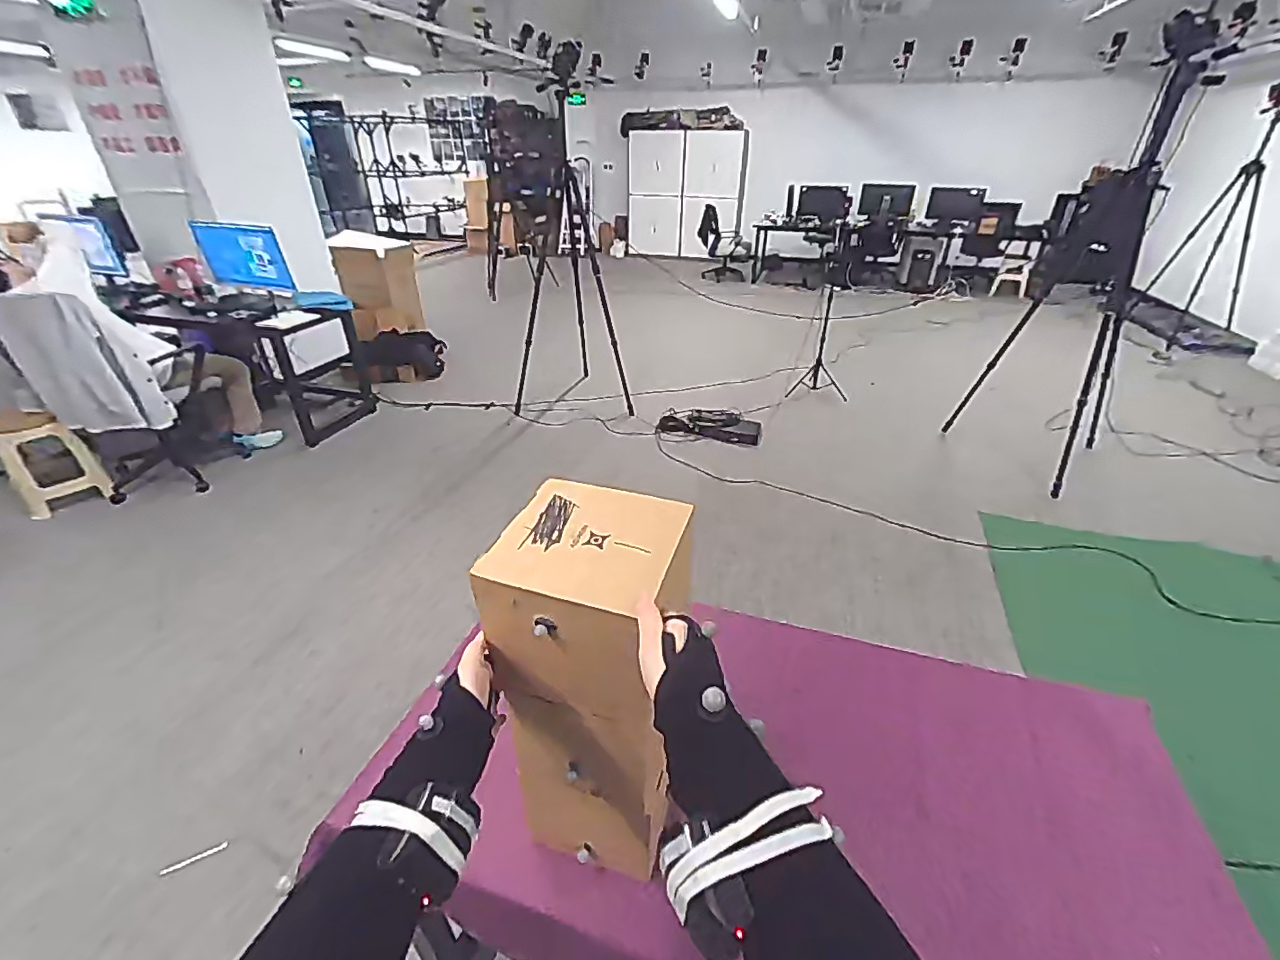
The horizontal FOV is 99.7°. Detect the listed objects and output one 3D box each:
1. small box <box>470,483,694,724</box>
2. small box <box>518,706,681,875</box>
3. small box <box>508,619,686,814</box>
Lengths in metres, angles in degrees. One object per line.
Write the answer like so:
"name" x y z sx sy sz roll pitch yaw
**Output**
"small box" -0.050 0.128 0.578 0.179 0.176 0.168 11 37 15
"small box" -0.049 0.414 0.762 0.179 0.176 0.168 10 32 14
"small box" -0.046 0.270 0.680 0.168 0.176 0.179 9 32 16
